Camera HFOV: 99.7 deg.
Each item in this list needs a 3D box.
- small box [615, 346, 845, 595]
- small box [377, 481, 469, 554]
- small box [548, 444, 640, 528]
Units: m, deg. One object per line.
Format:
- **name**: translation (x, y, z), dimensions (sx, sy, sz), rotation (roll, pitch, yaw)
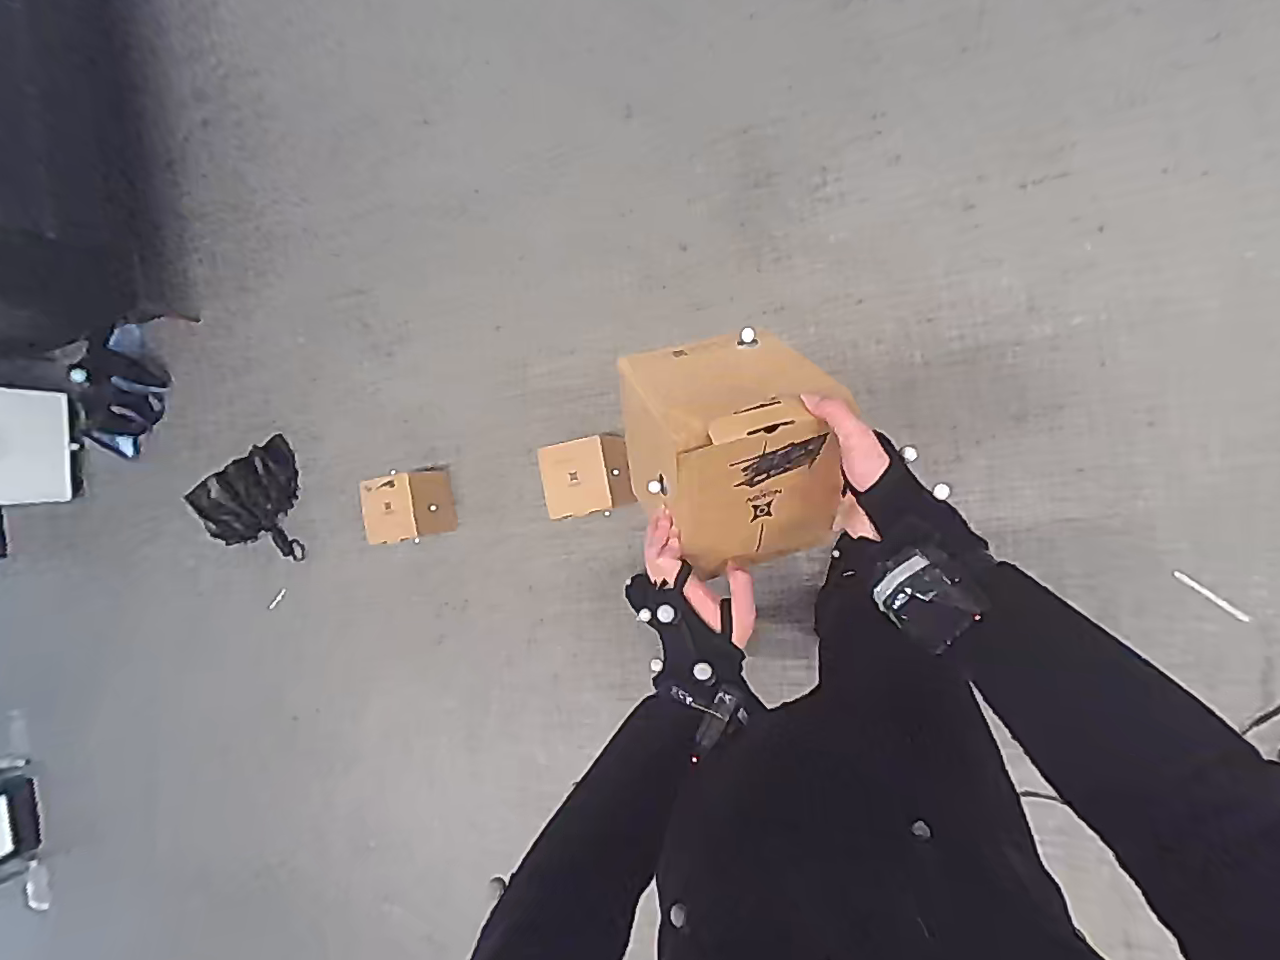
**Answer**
- **small box**: translation (0.080, -0.022, 0.548), dimensions (0.168, 0.176, 0.179), rotation (-16, 128, -9)
- **small box**: translation (-0.606, 0.102, 1.529), dimensions (0.168, 0.176, 0.179), rotation (-11, 87, 19)
- **small box**: translation (-0.103, 0.015, 1.344), dimensions (0.168, 0.176, 0.179), rotation (-13, 86, 19)
